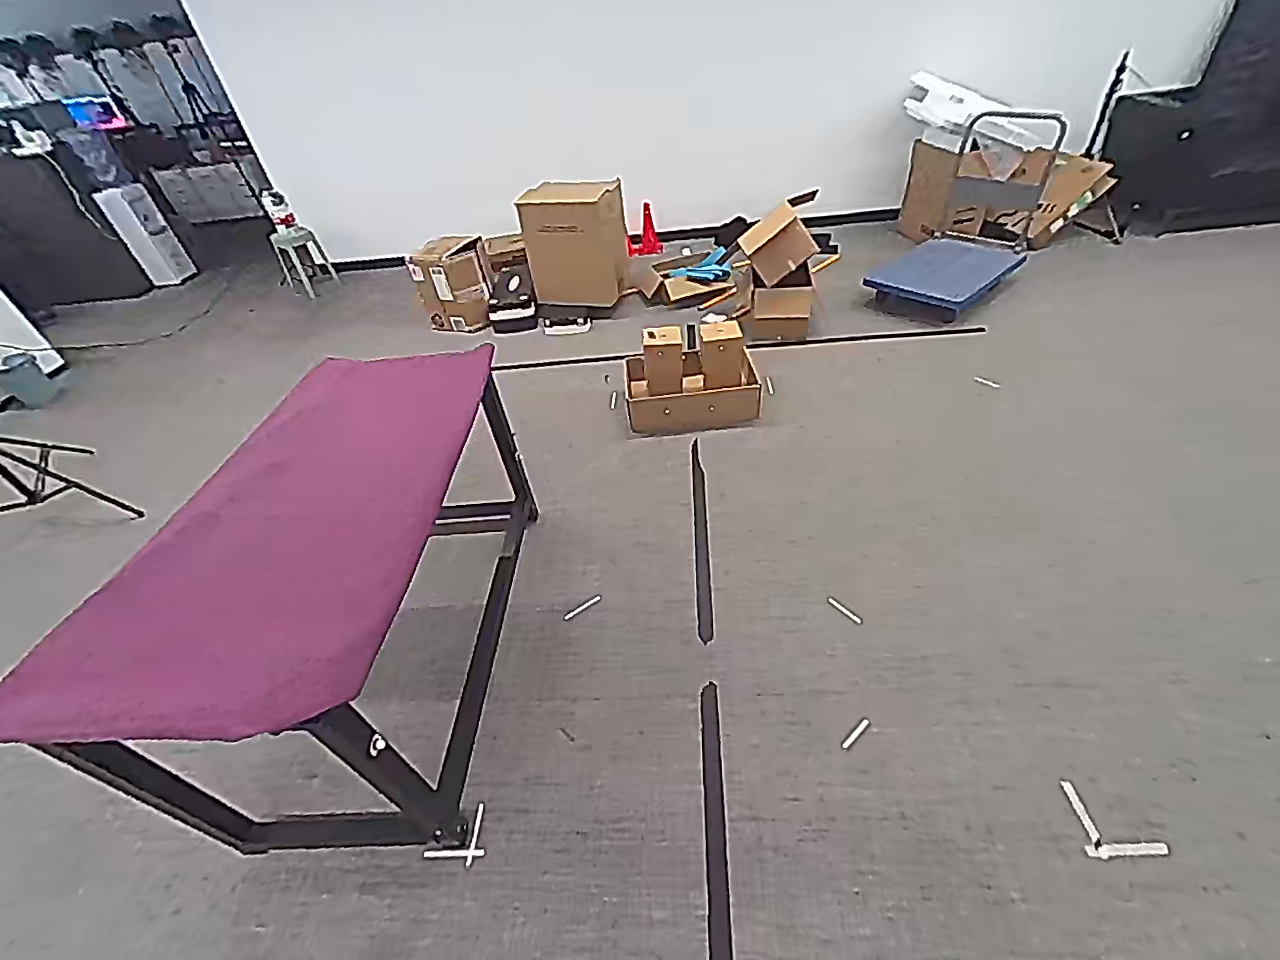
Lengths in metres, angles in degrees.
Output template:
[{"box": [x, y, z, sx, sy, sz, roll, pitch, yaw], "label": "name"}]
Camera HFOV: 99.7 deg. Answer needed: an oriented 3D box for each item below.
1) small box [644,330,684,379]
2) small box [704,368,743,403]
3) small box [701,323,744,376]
[{"box": [0.114, -0.582, 2.513, 0.179, 0.176, 0.168, -3, 41, 2], "label": "small box"}, {"box": [0.401, -0.480, 2.604, 0.168, 0.176, 0.179, -5, 40, 3], "label": "small box"}, {"box": [0.381, -0.600, 2.496, 0.179, 0.176, 0.168, -7, 41, 3], "label": "small box"}]
